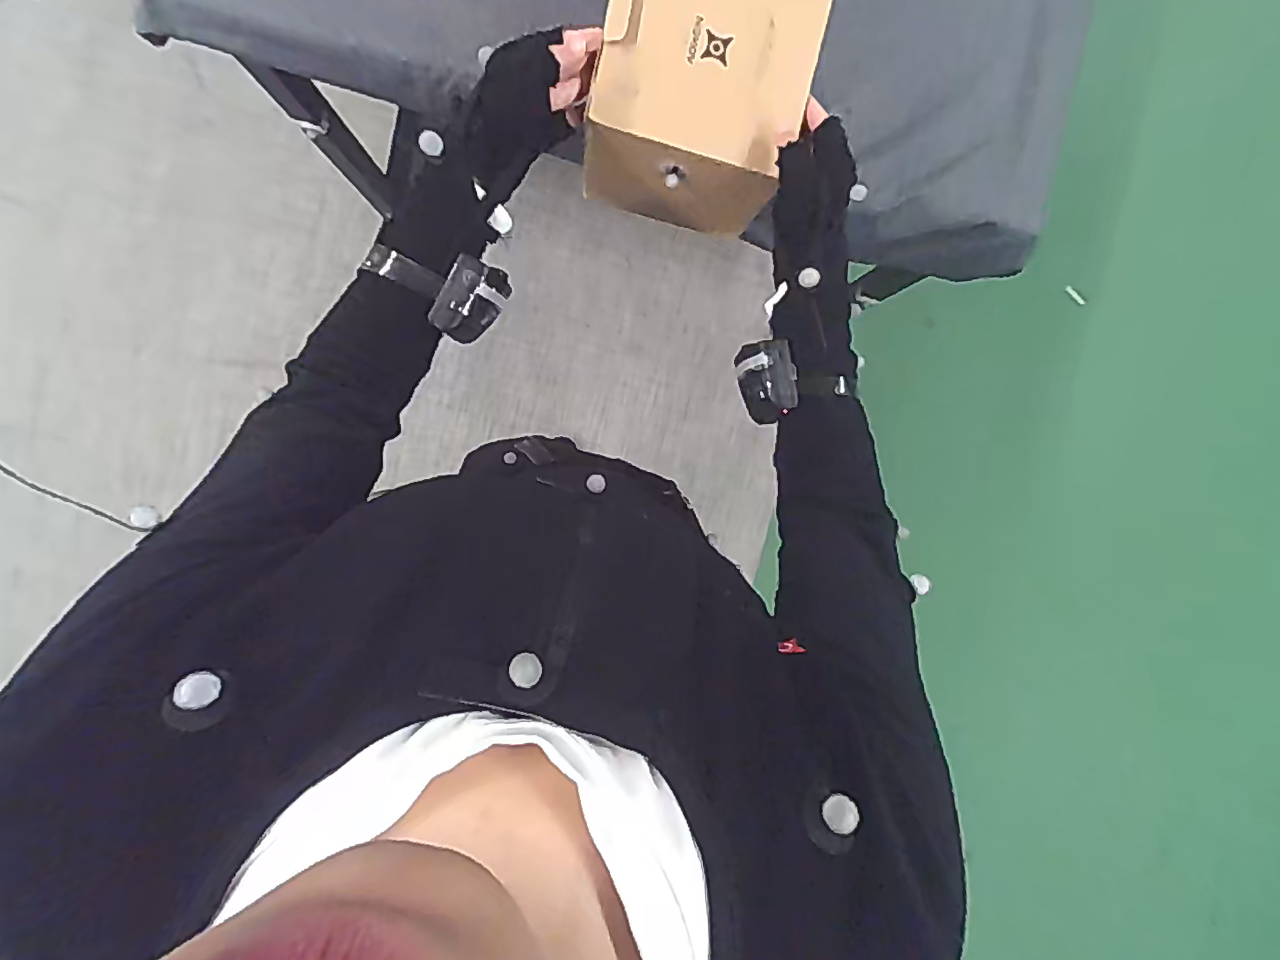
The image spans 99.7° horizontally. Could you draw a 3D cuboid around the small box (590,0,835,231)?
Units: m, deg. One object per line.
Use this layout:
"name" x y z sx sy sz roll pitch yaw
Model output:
"small box" 0.053 -0.361 0.516 0.179 0.176 0.168 12 97 -9
